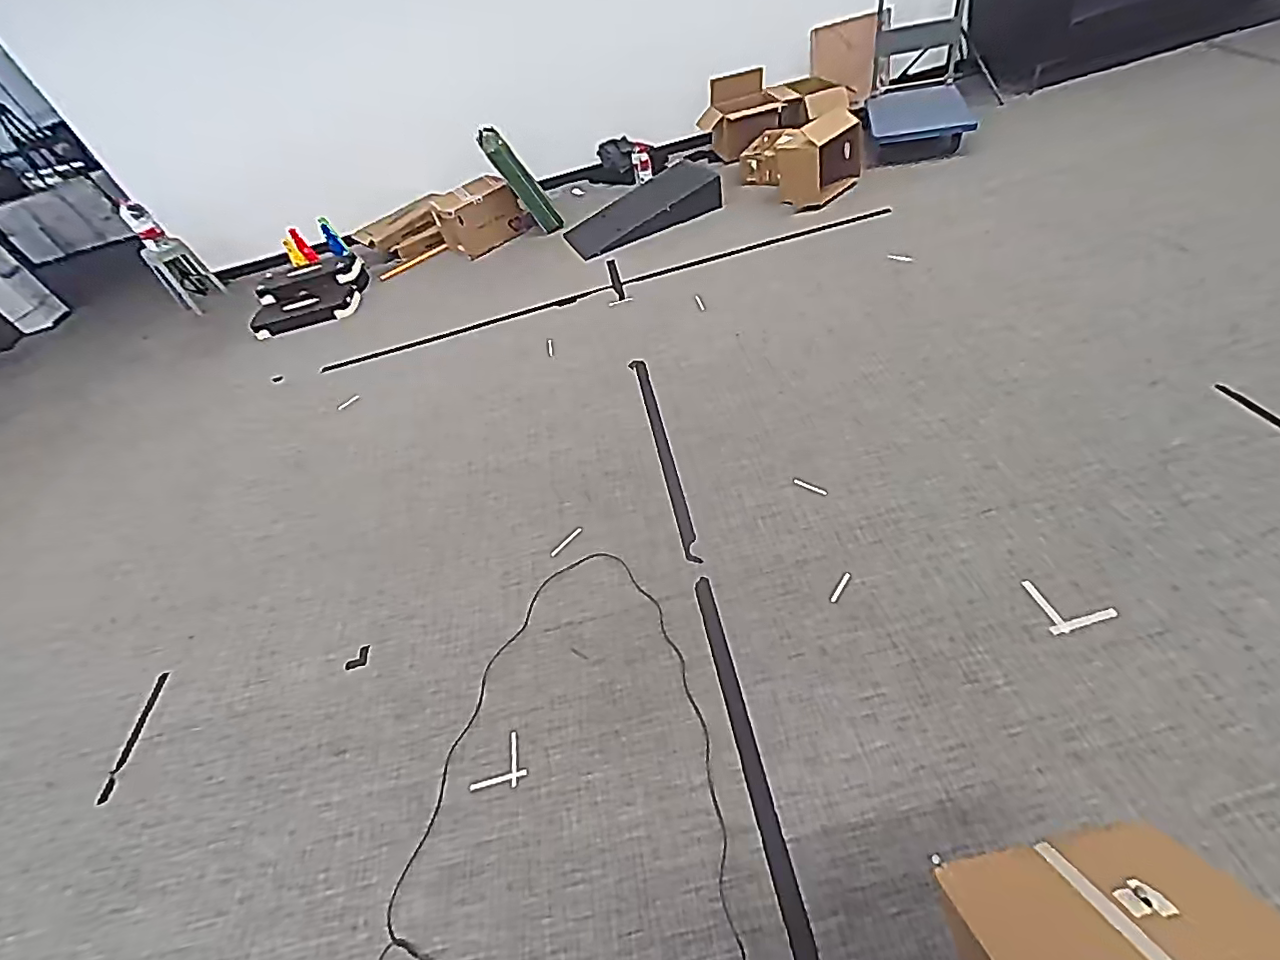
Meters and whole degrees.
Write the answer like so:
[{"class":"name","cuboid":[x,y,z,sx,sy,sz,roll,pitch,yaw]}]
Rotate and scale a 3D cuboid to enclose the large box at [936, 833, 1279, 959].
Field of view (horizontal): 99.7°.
[{"class":"large box","cuboid":[0.607,0.679,0.583,0.320,0.408,0.320,-15,84,5]}]
